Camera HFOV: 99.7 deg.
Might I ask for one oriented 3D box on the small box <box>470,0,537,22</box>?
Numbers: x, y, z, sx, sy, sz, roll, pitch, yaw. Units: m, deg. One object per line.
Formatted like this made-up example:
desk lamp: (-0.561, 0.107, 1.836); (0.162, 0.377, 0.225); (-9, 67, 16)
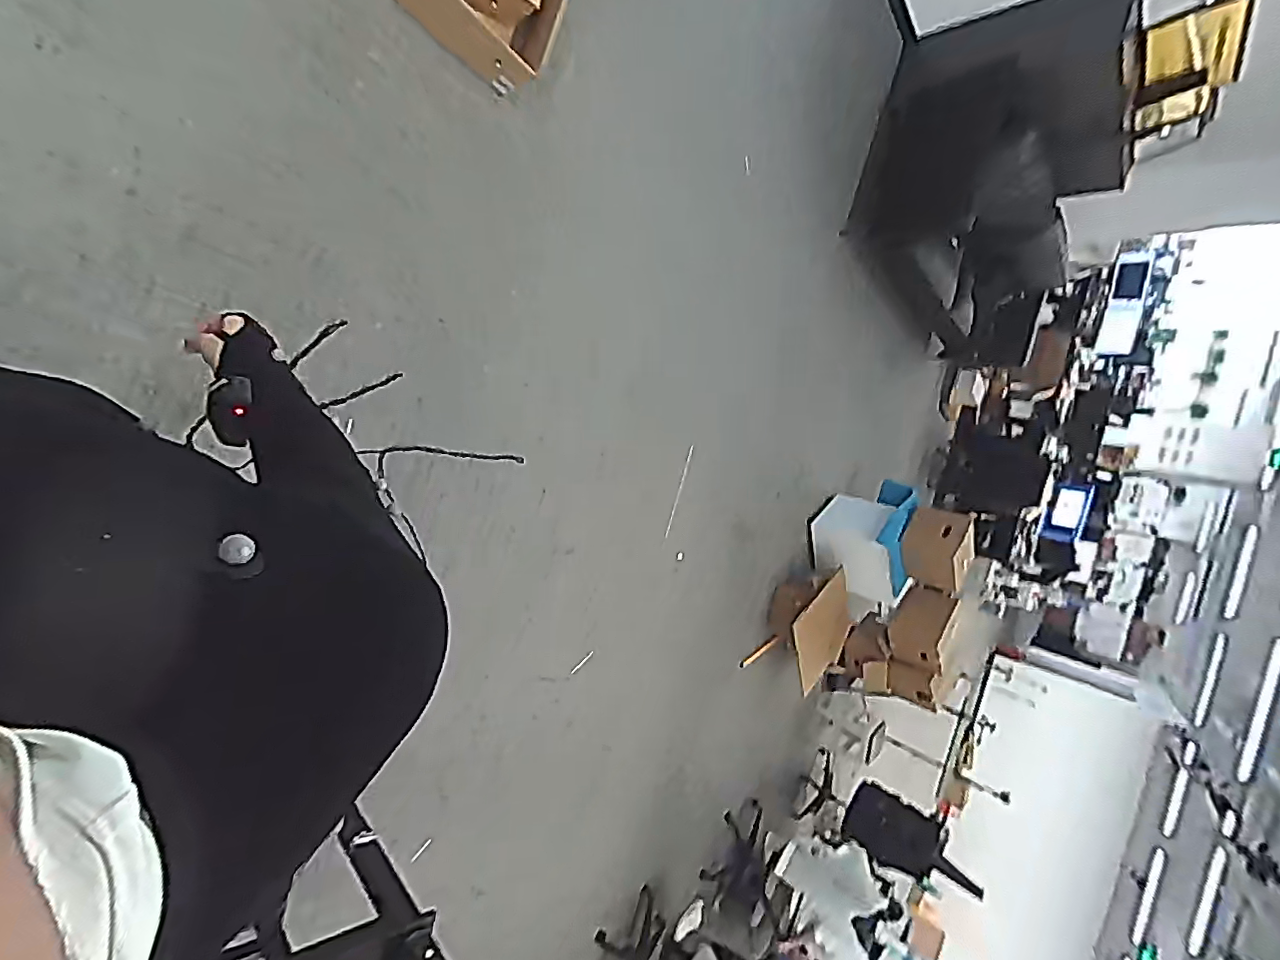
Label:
small box: (-0.379, -1.369, 1.427); (0.168, 0.176, 0.179); (-3, 104, -46)
